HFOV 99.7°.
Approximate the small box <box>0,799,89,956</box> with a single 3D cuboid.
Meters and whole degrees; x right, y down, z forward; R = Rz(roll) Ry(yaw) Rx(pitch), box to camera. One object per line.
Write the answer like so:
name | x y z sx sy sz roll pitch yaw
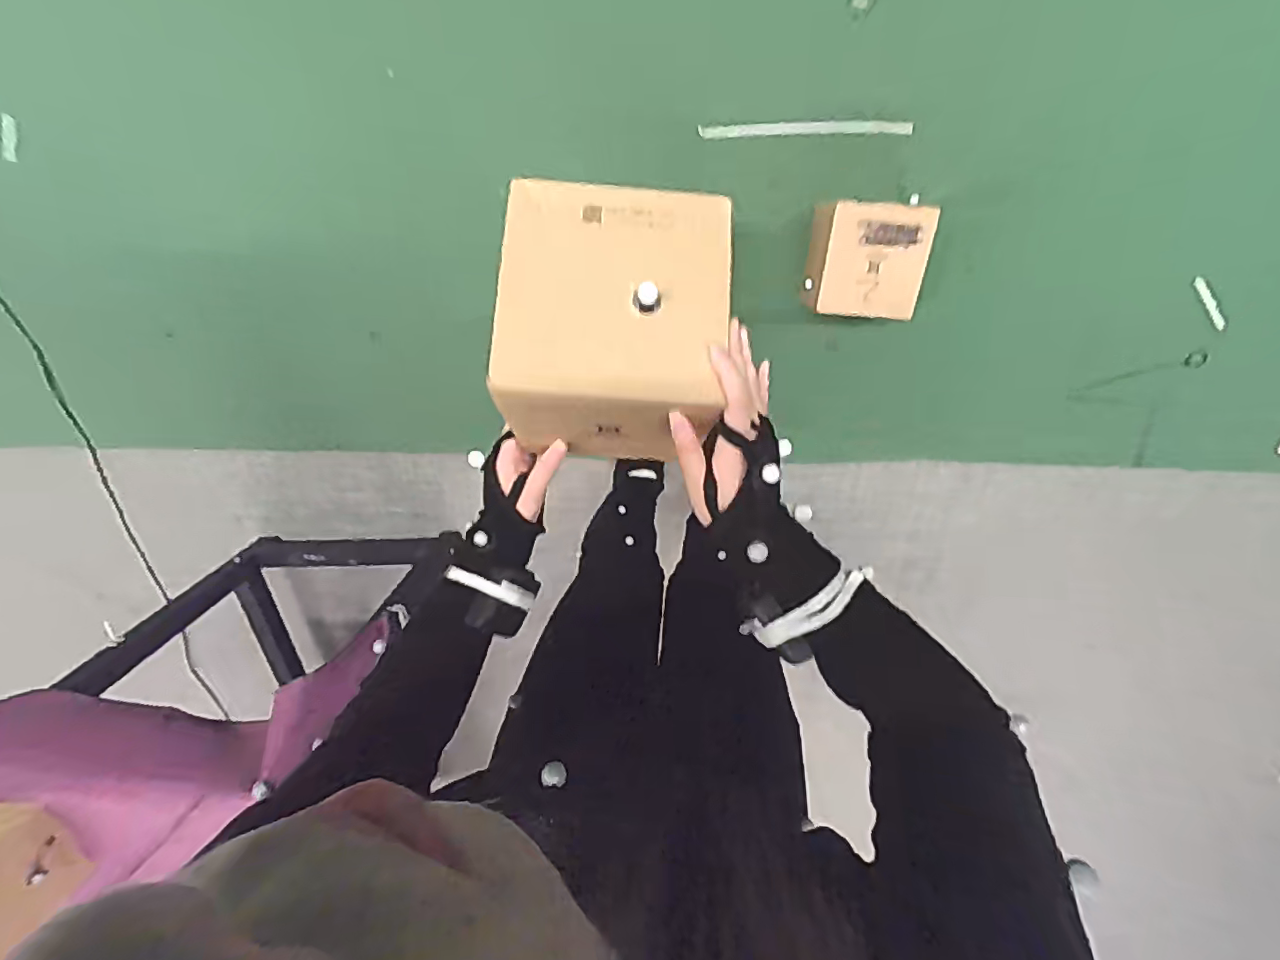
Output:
small box | -0.970 0.578 0.768 0.179 0.176 0.168 0 116 3
